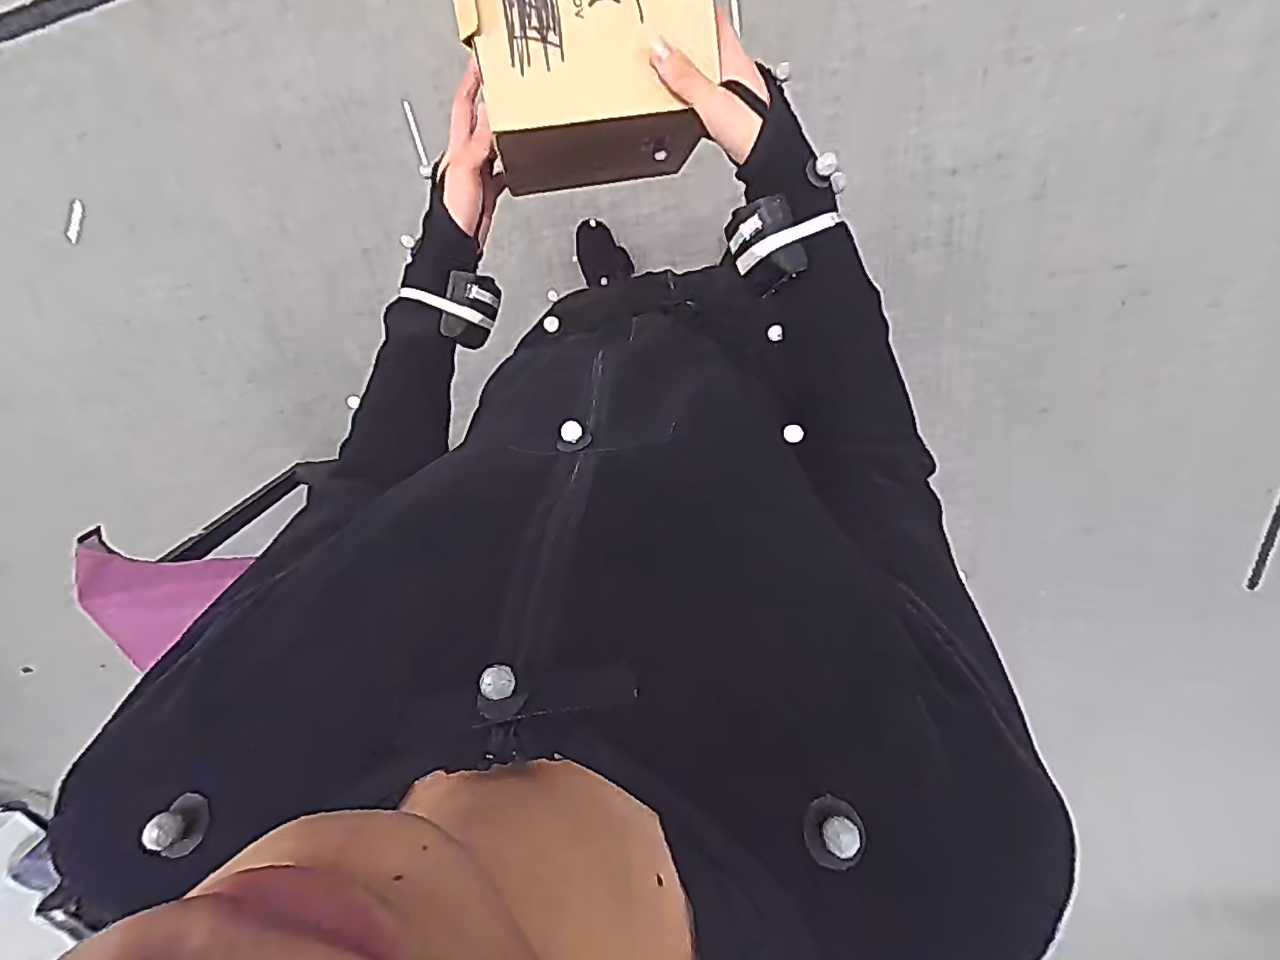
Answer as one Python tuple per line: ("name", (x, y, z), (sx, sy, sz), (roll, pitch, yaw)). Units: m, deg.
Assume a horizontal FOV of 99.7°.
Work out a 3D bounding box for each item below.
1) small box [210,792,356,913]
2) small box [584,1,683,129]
("small box", (-0.778, 0.818, 1.199), (0.179, 0.176, 0.168), (-6, 119, 10))
("small box", (-0.004, -0.885, 1.175), (0.168, 0.176, 0.179), (-11, 117, 12))
